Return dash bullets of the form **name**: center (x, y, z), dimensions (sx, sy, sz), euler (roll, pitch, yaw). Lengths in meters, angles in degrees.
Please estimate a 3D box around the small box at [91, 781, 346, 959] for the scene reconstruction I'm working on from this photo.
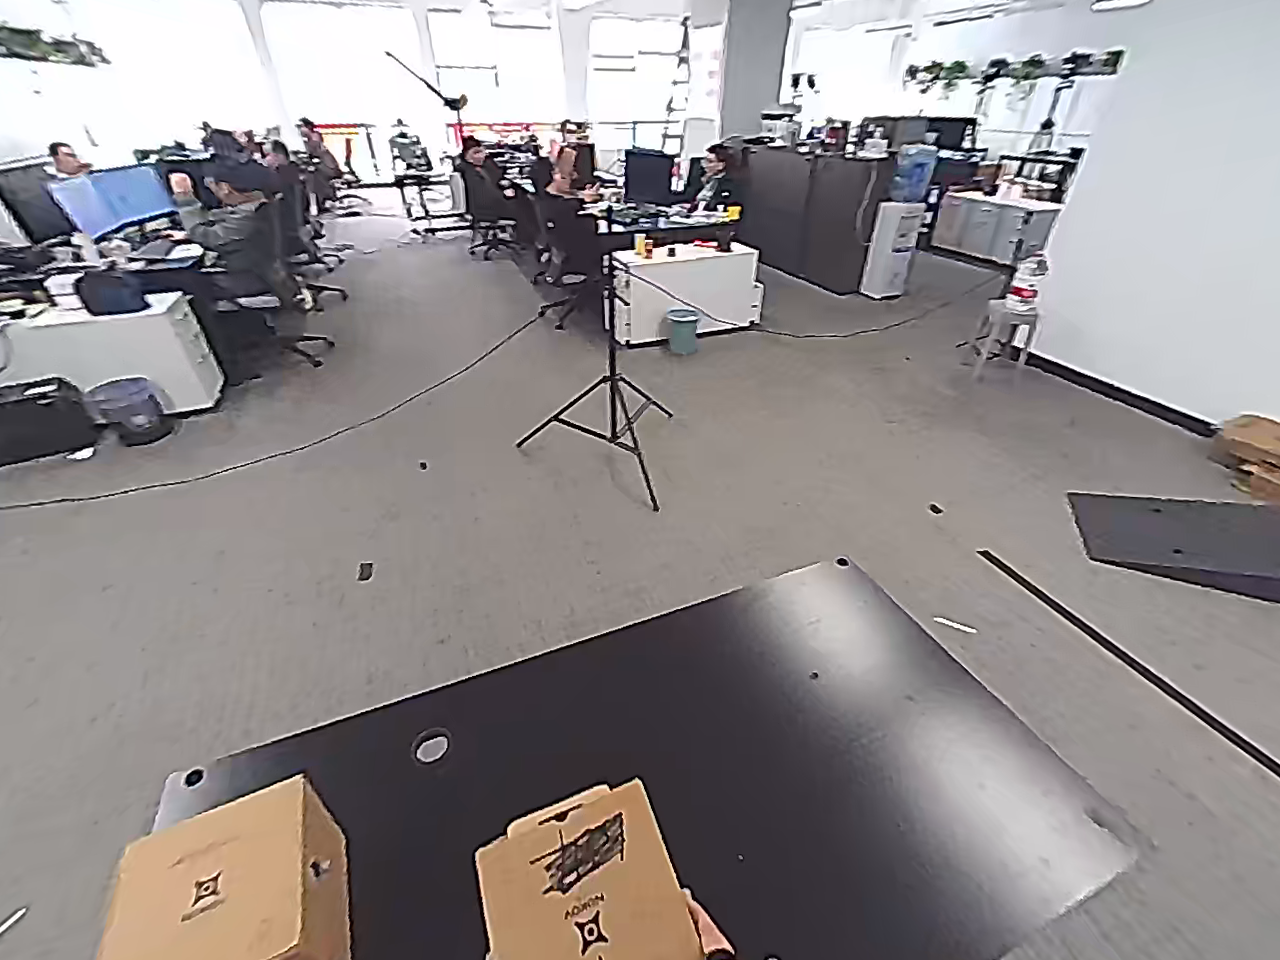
- **small box**: center (-0.420, 0.468, 0.563), dimensions (0.168, 0.176, 0.179), euler (-15, 37, -23)

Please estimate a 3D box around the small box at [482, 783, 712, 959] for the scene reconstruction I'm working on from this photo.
- **small box**: center (-0.038, 0.429, 0.507), dimensions (0.168, 0.176, 0.179), euler (-16, 46, -15)
